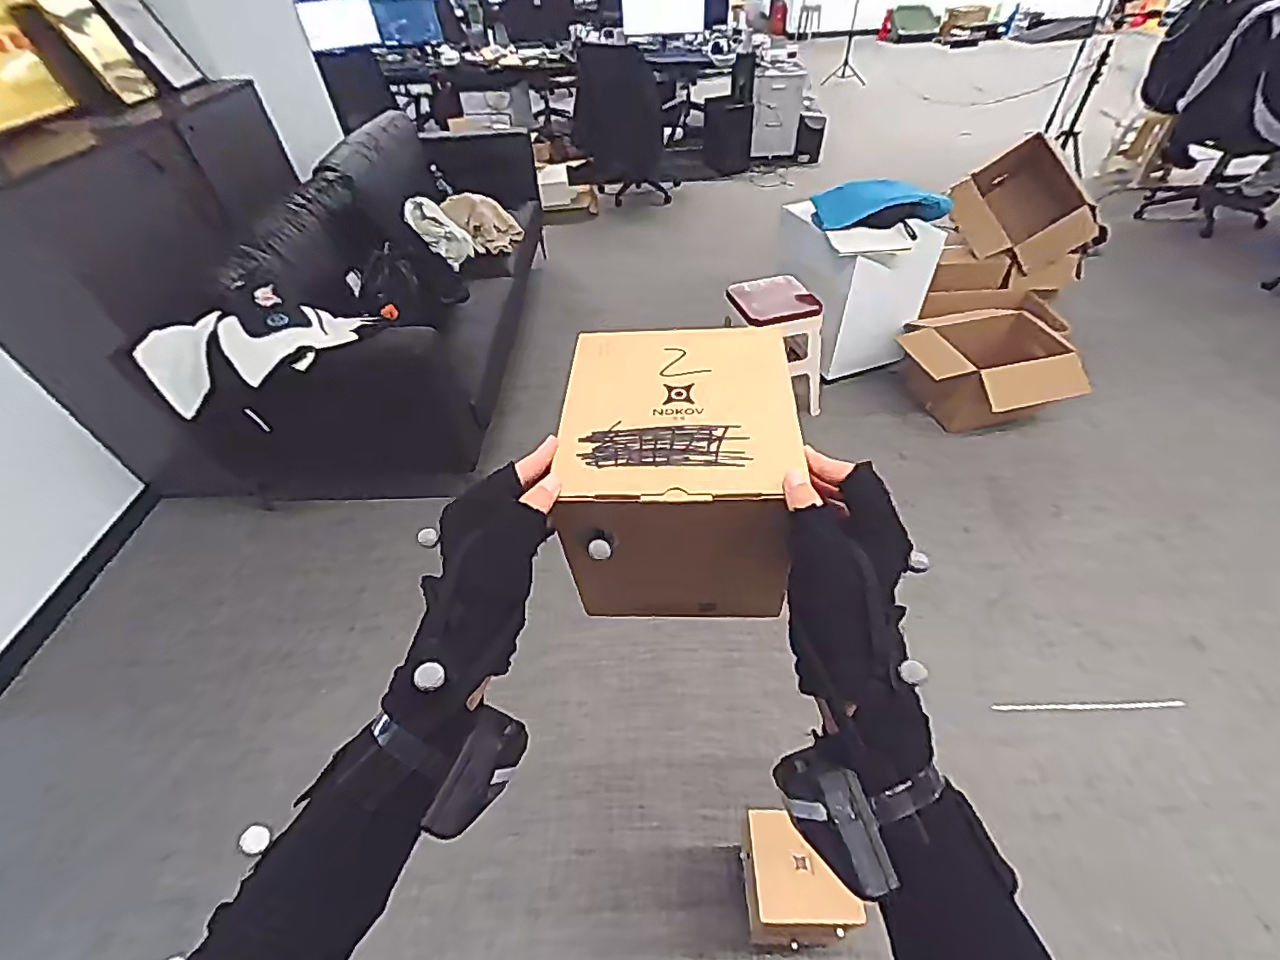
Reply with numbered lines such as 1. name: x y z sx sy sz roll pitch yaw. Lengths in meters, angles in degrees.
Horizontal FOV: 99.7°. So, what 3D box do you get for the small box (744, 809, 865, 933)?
1. small box: 0.289 0.723 0.998 0.179 0.176 0.168 -1 46 2
